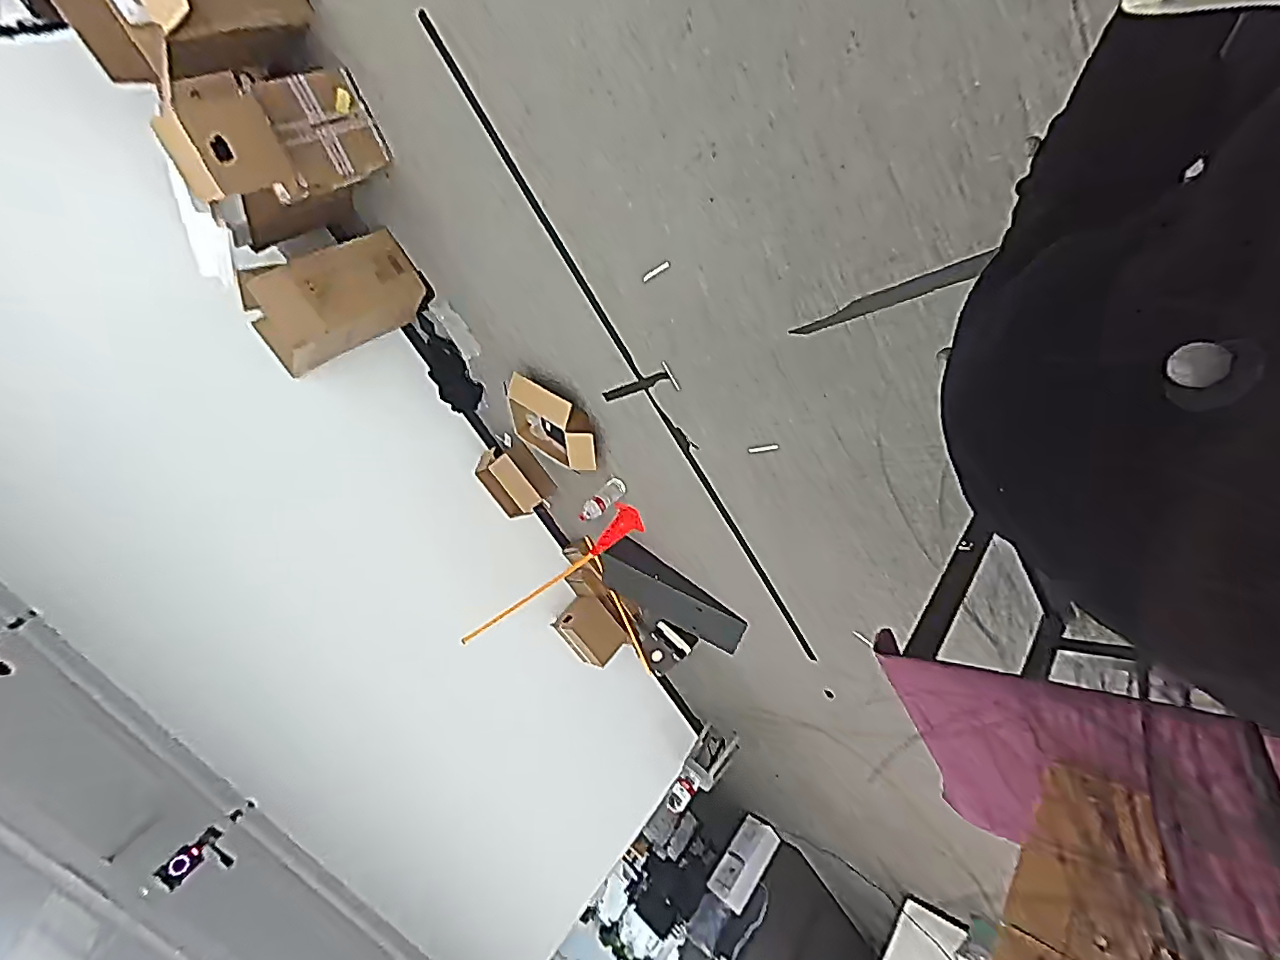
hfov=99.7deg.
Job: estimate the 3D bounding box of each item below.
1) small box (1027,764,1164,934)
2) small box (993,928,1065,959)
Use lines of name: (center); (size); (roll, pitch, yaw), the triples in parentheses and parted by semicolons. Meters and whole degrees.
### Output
small box: (0.871, 0.691, 1.031); (0.168, 0.176, 0.179); (0, 126, 51)
small box: (0.662, 0.879, 0.864); (0.168, 0.176, 0.179); (4, 131, 52)
